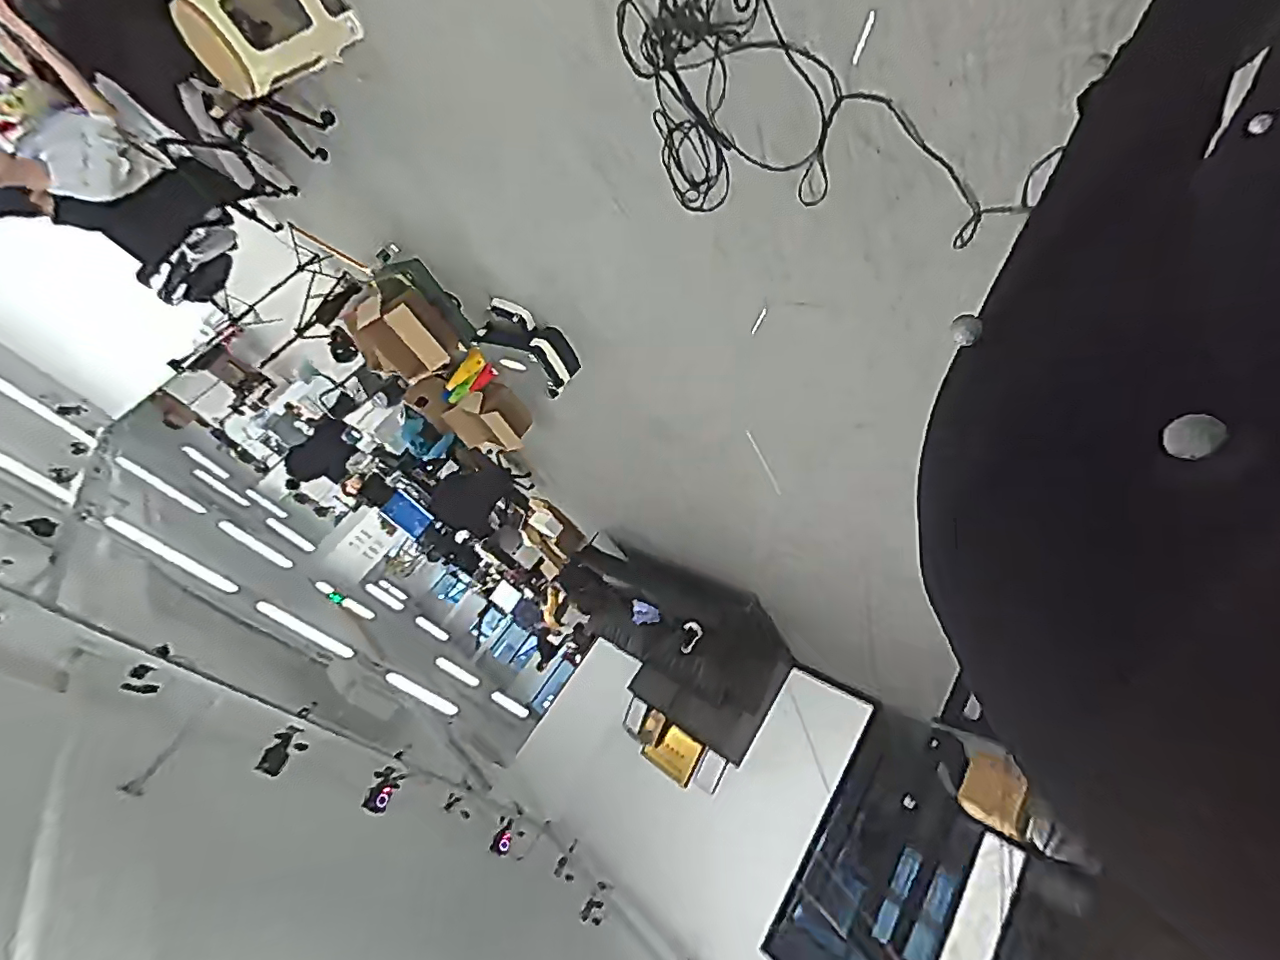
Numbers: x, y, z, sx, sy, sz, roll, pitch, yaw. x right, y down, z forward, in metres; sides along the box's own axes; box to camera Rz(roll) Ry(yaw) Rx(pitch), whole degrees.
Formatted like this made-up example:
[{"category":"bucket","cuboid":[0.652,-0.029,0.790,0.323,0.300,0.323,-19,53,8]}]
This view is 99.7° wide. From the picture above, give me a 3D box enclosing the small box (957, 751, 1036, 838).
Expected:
[{"category":"small box","cuboid":[1.194,1.043,1.807,0.168,0.176,0.179,11,148,52]}]
